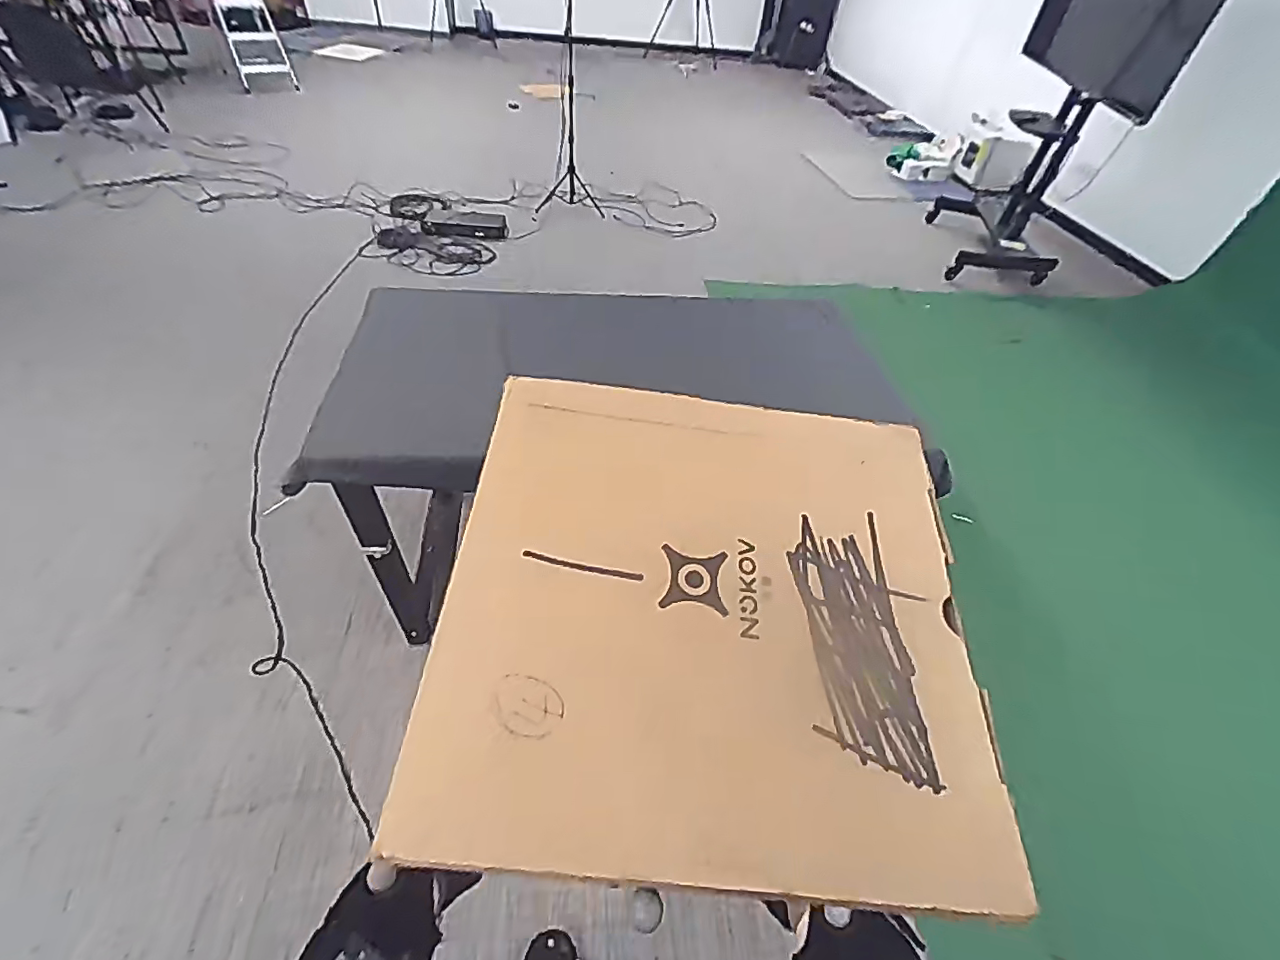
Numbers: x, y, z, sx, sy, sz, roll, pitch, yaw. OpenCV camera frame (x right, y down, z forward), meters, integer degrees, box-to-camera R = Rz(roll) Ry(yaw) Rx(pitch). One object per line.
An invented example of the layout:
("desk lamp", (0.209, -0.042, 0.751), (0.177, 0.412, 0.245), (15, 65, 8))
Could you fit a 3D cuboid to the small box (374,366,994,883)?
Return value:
("small box", (0.012, 0.074, 0.256), (0.179, 0.176, 0.168), (8, 56, -3))
